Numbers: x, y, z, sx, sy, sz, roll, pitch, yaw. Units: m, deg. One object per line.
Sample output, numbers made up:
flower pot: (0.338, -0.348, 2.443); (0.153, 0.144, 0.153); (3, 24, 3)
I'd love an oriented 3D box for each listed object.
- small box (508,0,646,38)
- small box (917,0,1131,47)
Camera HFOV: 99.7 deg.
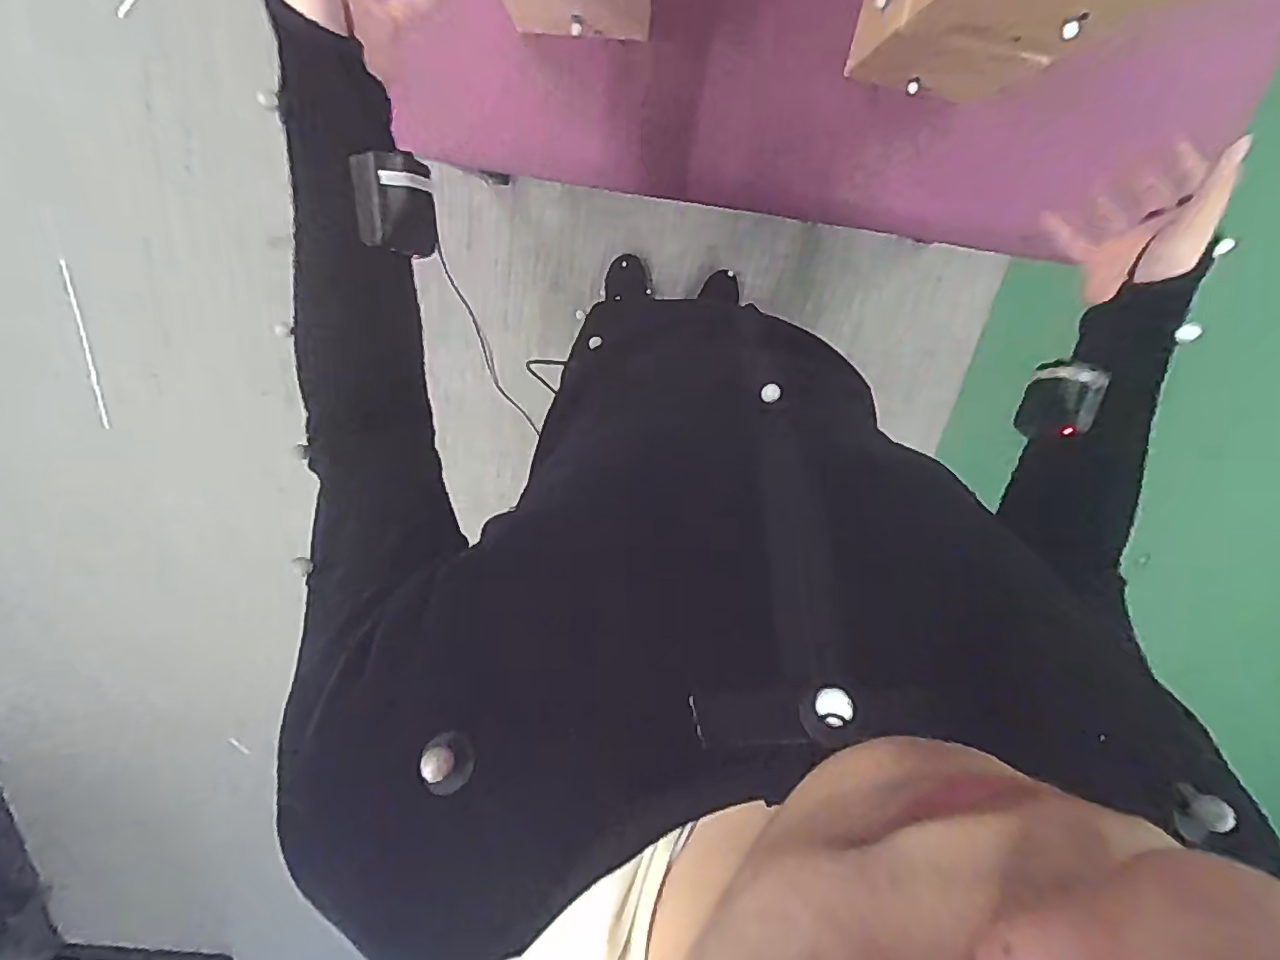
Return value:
small box: (-0.071, -0.612, 0.572); (0.168, 0.176, 0.179); (3, 113, -1)
small box: (0.353, -0.494, 0.440); (0.168, 0.176, 0.179); (9, 112, -4)
